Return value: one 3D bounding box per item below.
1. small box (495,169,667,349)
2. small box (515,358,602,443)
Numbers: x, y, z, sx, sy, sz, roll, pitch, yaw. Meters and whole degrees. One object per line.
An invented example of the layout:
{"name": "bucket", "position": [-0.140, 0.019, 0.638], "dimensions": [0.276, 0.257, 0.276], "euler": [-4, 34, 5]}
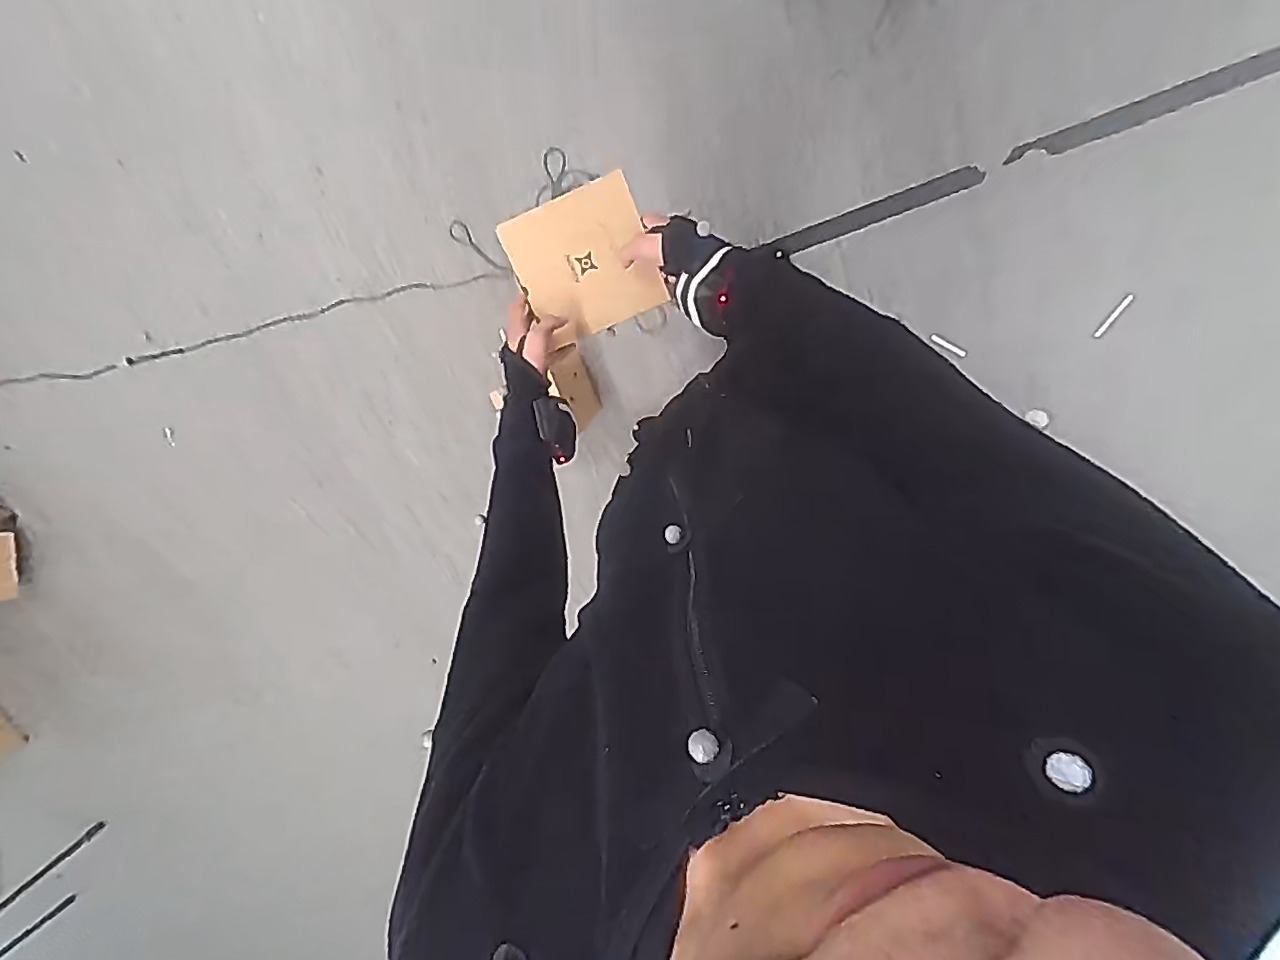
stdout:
{"name": "small box", "position": [-0.068, -0.294, 0.749], "dimensions": [0.179, 0.176, 0.168], "euler": [-20, 107, 9]}
{"name": "small box", "position": [-0.222, -0.231, 1.535], "dimensions": [0.168, 0.176, 0.179], "euler": [-19, 106, 14]}
